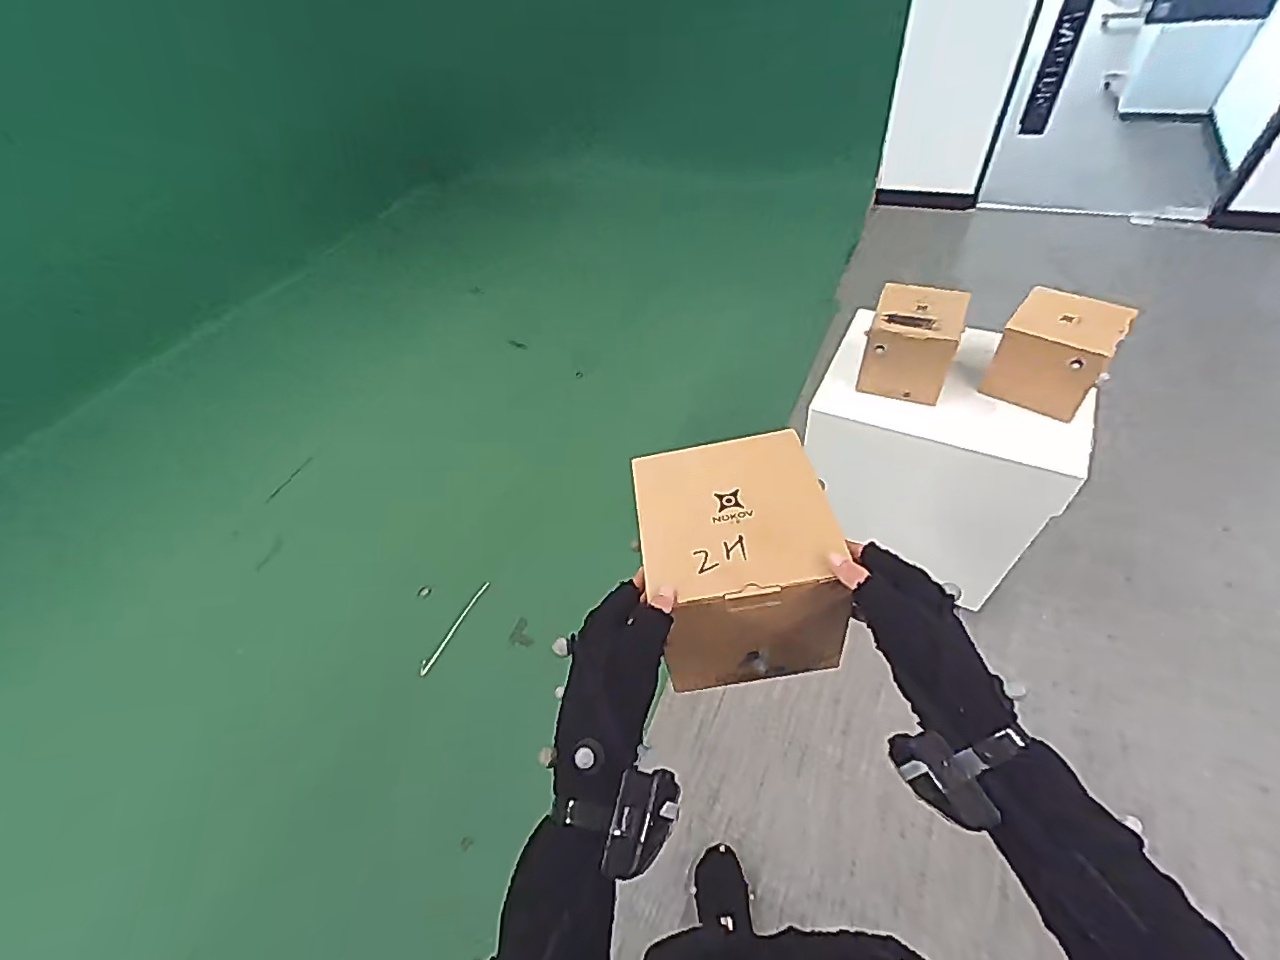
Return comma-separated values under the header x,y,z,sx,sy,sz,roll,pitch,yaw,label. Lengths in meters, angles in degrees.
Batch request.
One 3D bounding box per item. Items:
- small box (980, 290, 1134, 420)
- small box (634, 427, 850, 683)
x,y,z,sx,sy,sz,roll,pitch,yaw,label
0.819,-0.247,1.081,0.179,0.176,0.168,31,62,31,small box
0.091,0.076,0.539,0.168,0.176,0.179,-10,46,5,small box
